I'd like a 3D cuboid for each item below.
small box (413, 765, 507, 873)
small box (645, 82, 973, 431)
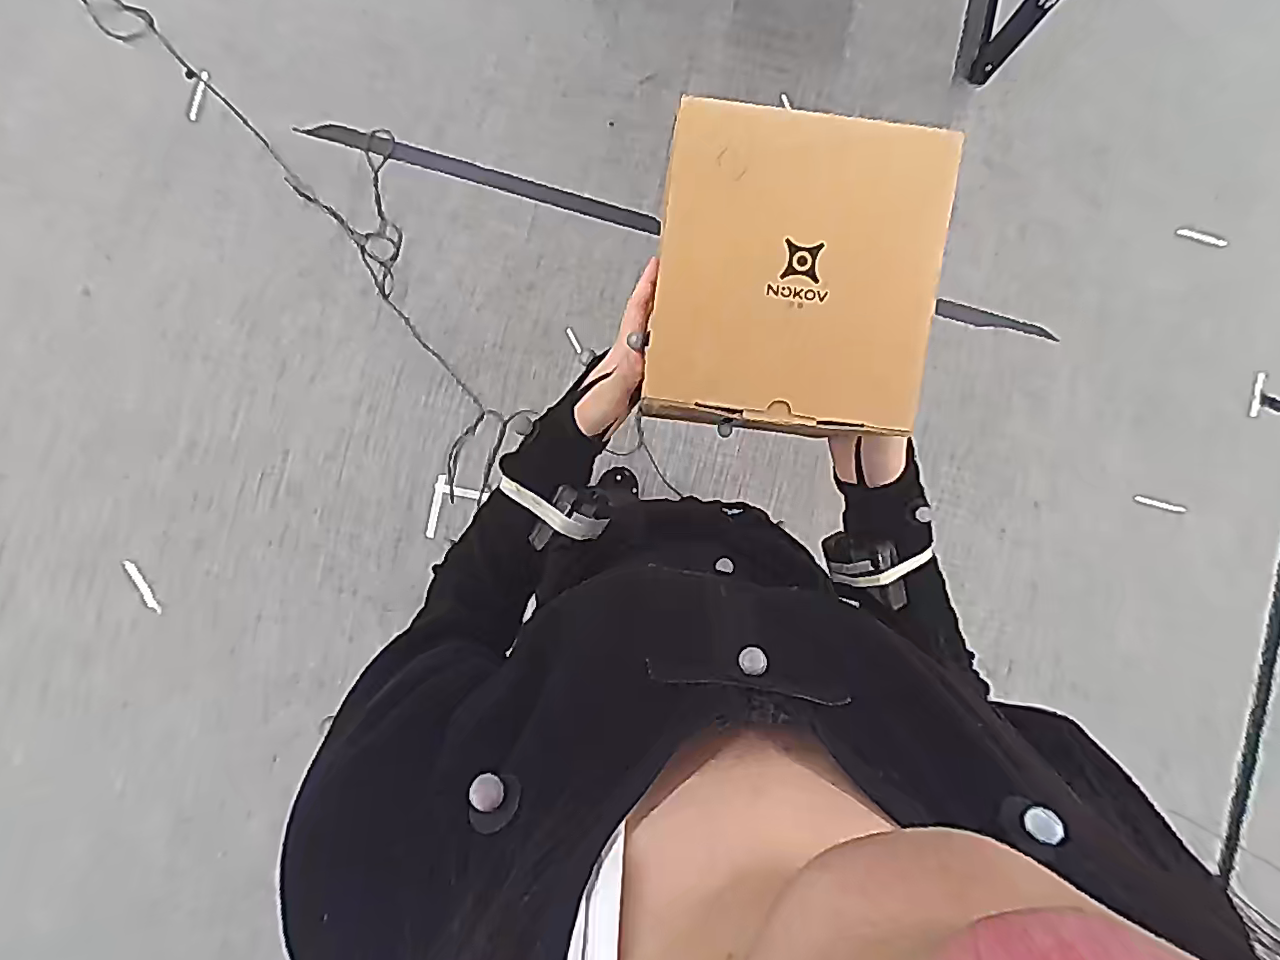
[{"bbox_3d":[-0.446,0.845,1.364,0.179,0.176,0.168,7,90,-4],"label":"small box"},{"bbox_3d":[0.095,-0.132,0.387,0.168,0.176,0.179,7,95,-1],"label":"small box"}]
